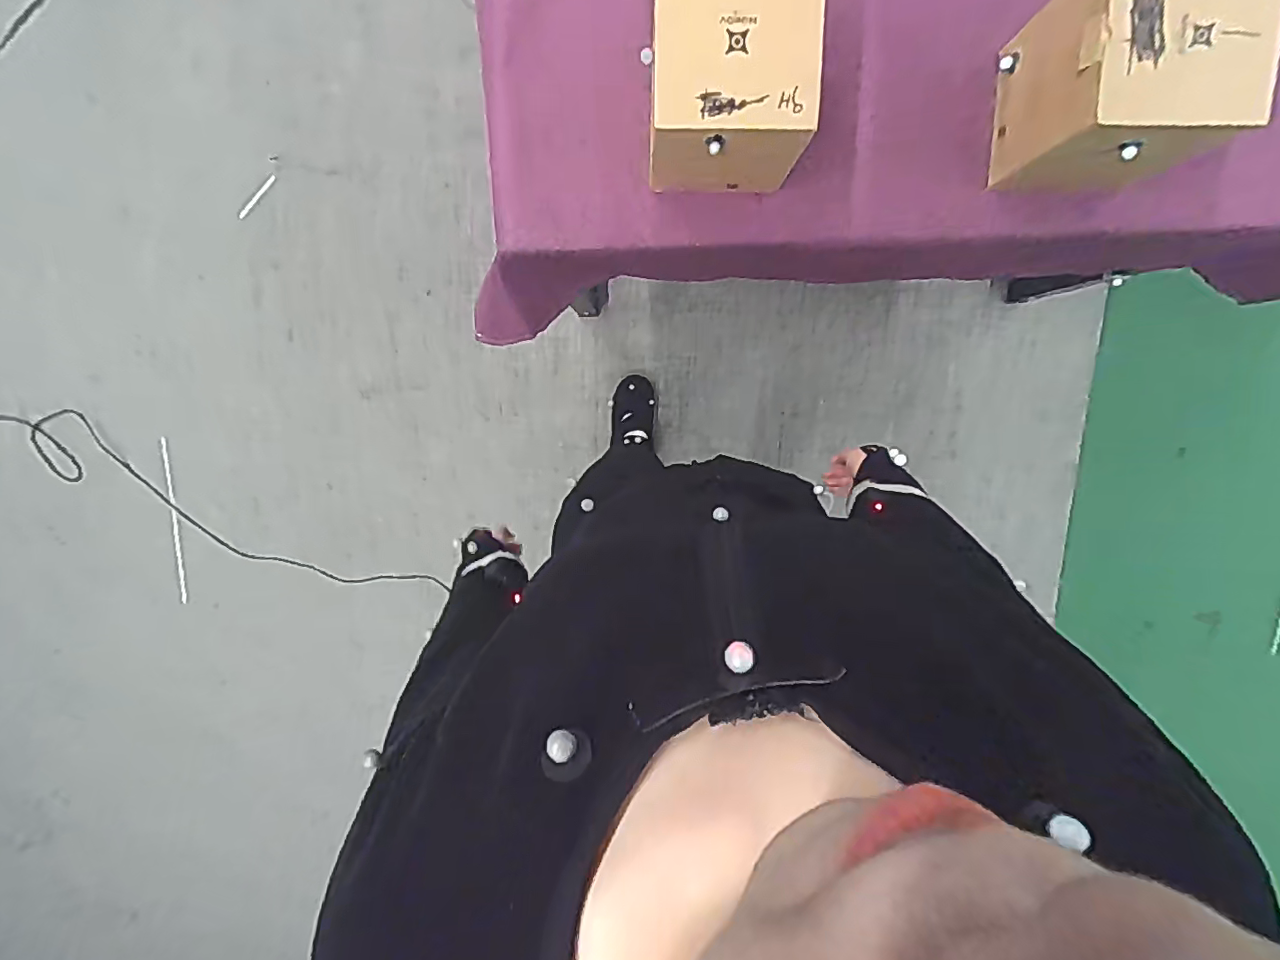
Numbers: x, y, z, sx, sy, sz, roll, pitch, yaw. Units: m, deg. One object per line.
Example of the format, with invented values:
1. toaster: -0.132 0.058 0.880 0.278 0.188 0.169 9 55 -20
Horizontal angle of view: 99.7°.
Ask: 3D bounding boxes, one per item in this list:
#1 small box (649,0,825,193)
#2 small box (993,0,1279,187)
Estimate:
1. small box: 0.096 -0.447 0.603 0.168 0.176 0.179 1 99 1
2. small box: 0.532 -0.443 0.601 0.179 0.176 0.168 0 99 0
